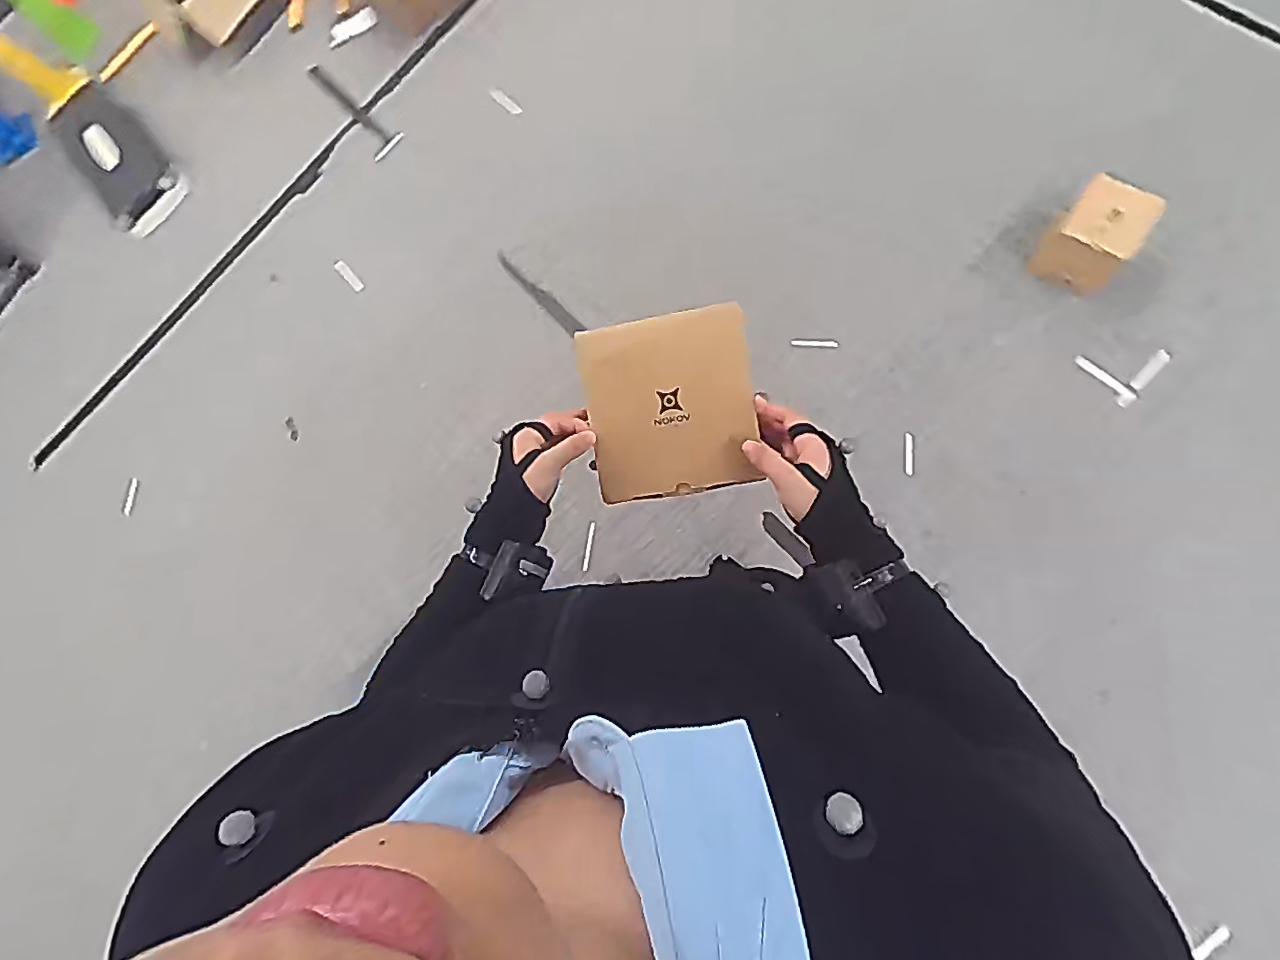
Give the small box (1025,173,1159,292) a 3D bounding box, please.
[{"bbox_3d":[1.121,-0.615,1.360,0.168,0.176,0.179,33,88,14],"label":"small box"}]
